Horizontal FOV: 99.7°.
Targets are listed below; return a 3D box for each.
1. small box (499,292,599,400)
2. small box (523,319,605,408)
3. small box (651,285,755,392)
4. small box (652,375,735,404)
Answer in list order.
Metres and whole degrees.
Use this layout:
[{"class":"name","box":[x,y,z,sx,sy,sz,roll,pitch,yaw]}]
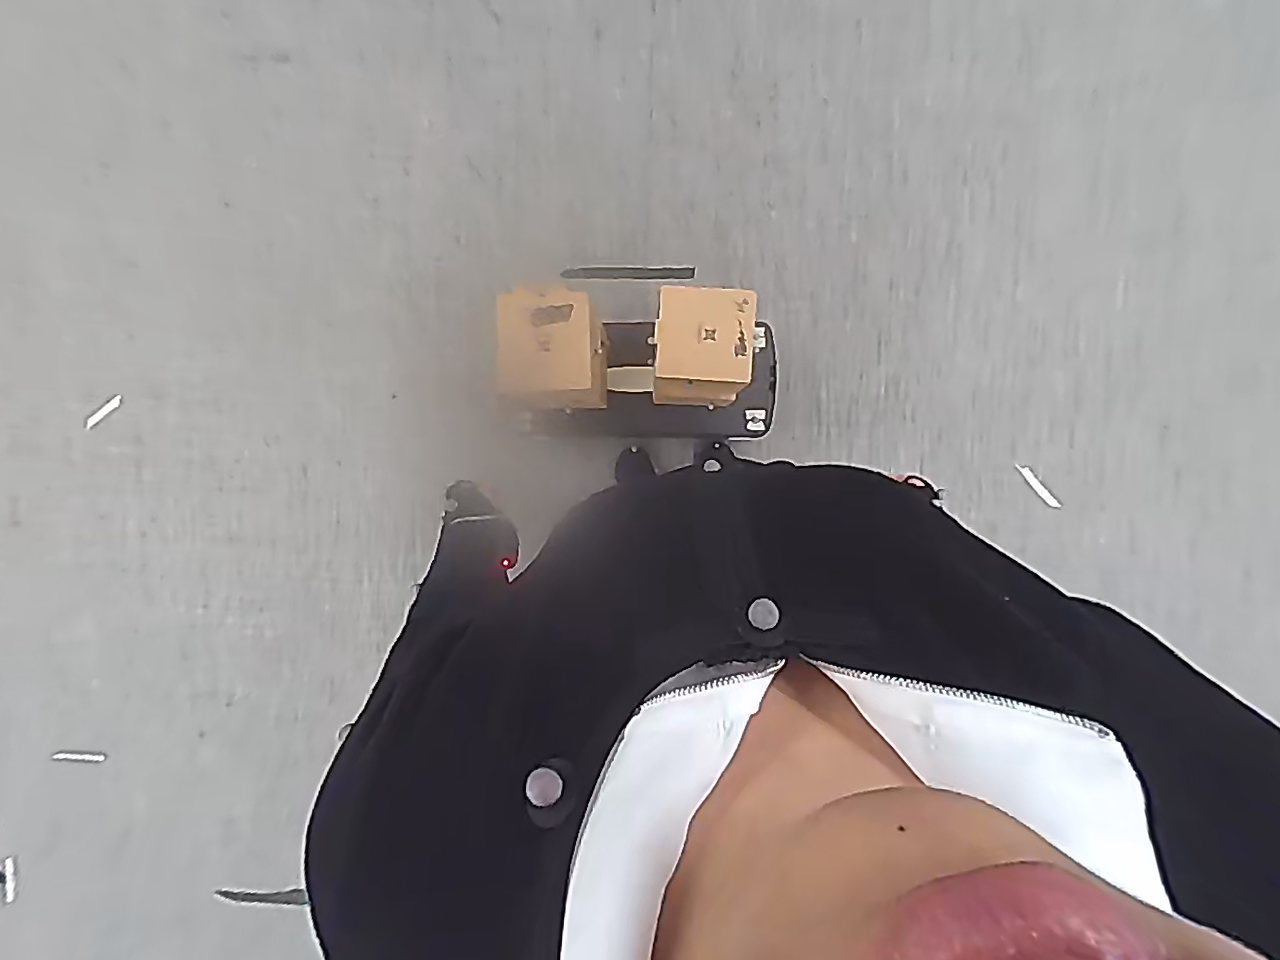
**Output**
[{"class":"small box","box":[-0.169,-0.251,1.048,0.168,0.176,0.179,-1,94,1]},{"class":"small box","box":[-0.163,-0.255,1.211,0.168,0.176,0.179,0,93,1]},{"class":"small box","box":[0.117,-0.265,1.043,0.179,0.176,0.168,4,93,2]},{"class":"small box","box":[0.118,-0.256,1.208,0.179,0.176,0.168,2,93,3]}]
